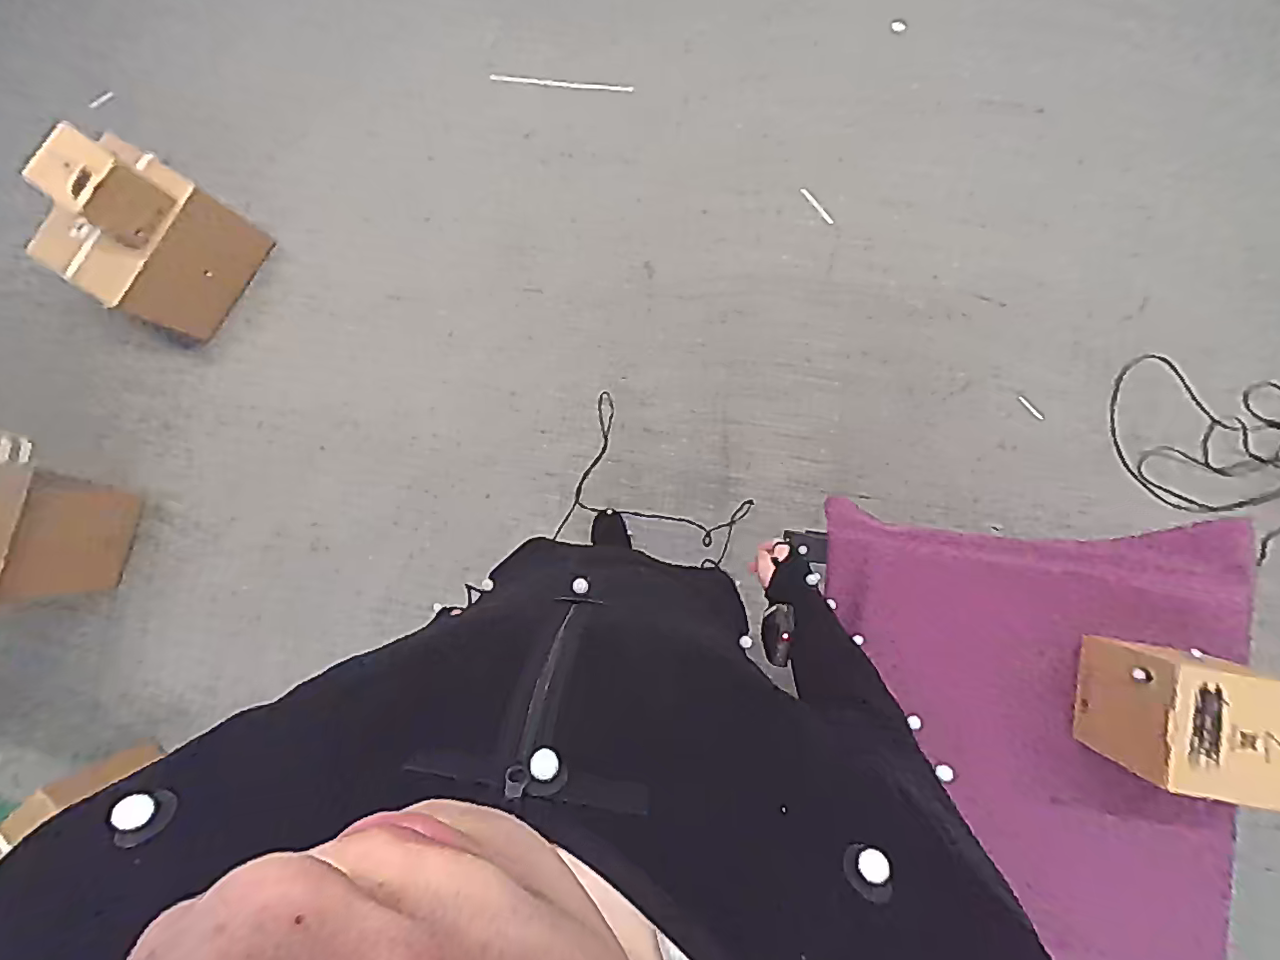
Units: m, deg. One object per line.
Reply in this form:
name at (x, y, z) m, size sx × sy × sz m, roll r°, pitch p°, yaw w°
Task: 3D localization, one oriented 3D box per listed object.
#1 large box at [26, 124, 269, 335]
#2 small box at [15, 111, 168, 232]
large box at (-1.419, -0.712, 1.597) m, size 0.320 × 0.320 × 0.408 m, roll 32°, pitch 90°, yaw 4°
small box at (-1.354, -0.754, 1.350) m, size 0.179 × 0.176 × 0.168 m, roll 36°, pitch 89°, yaw 2°
